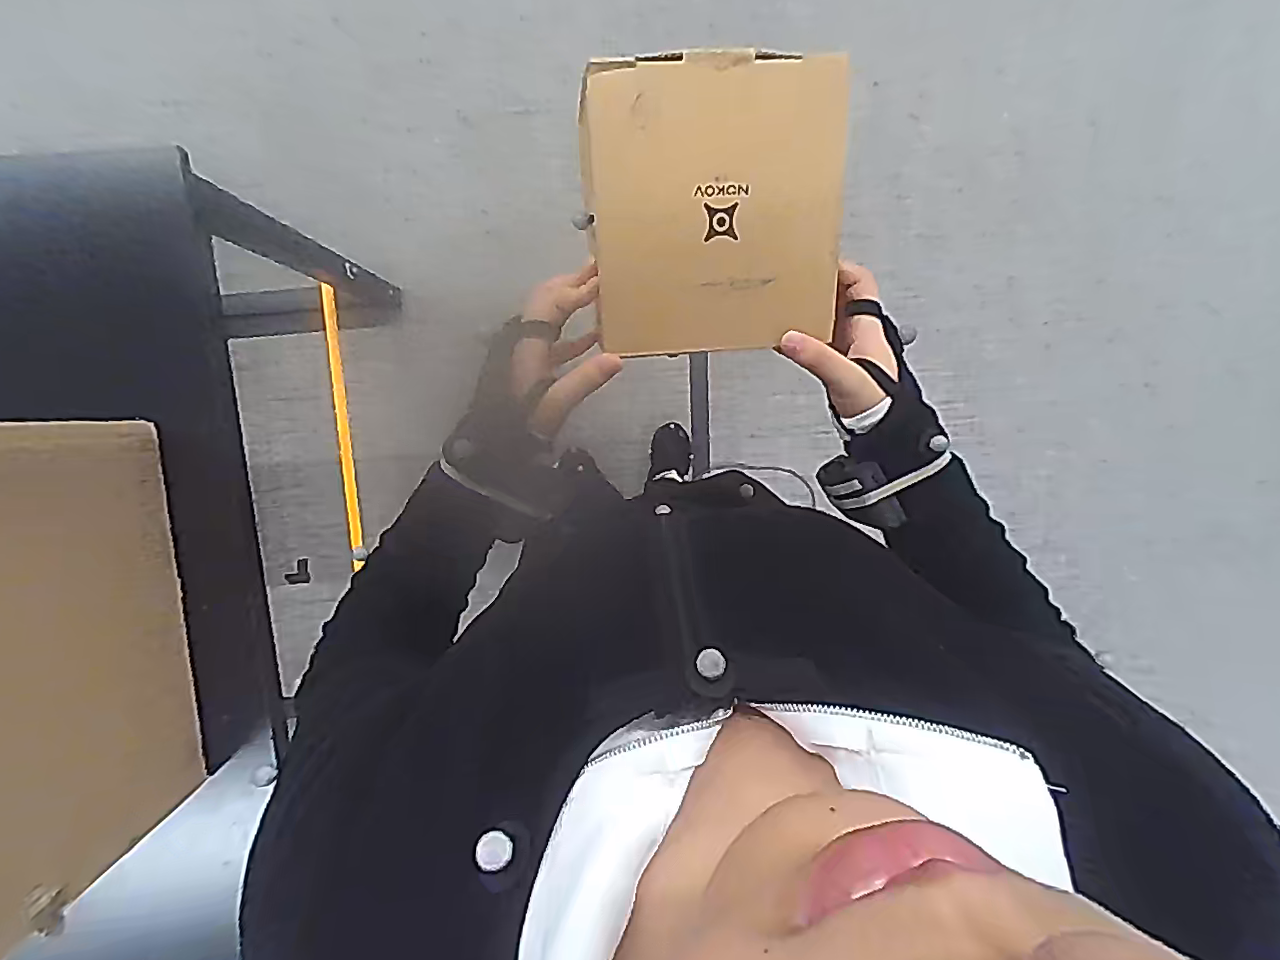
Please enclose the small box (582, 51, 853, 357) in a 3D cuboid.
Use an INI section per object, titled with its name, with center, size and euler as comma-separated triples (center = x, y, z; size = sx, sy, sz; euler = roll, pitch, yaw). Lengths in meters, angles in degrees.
[small box]
center = 0.043, -0.197, 0.422
size = 0.168, 0.176, 0.179
euler = -5, 110, -5
